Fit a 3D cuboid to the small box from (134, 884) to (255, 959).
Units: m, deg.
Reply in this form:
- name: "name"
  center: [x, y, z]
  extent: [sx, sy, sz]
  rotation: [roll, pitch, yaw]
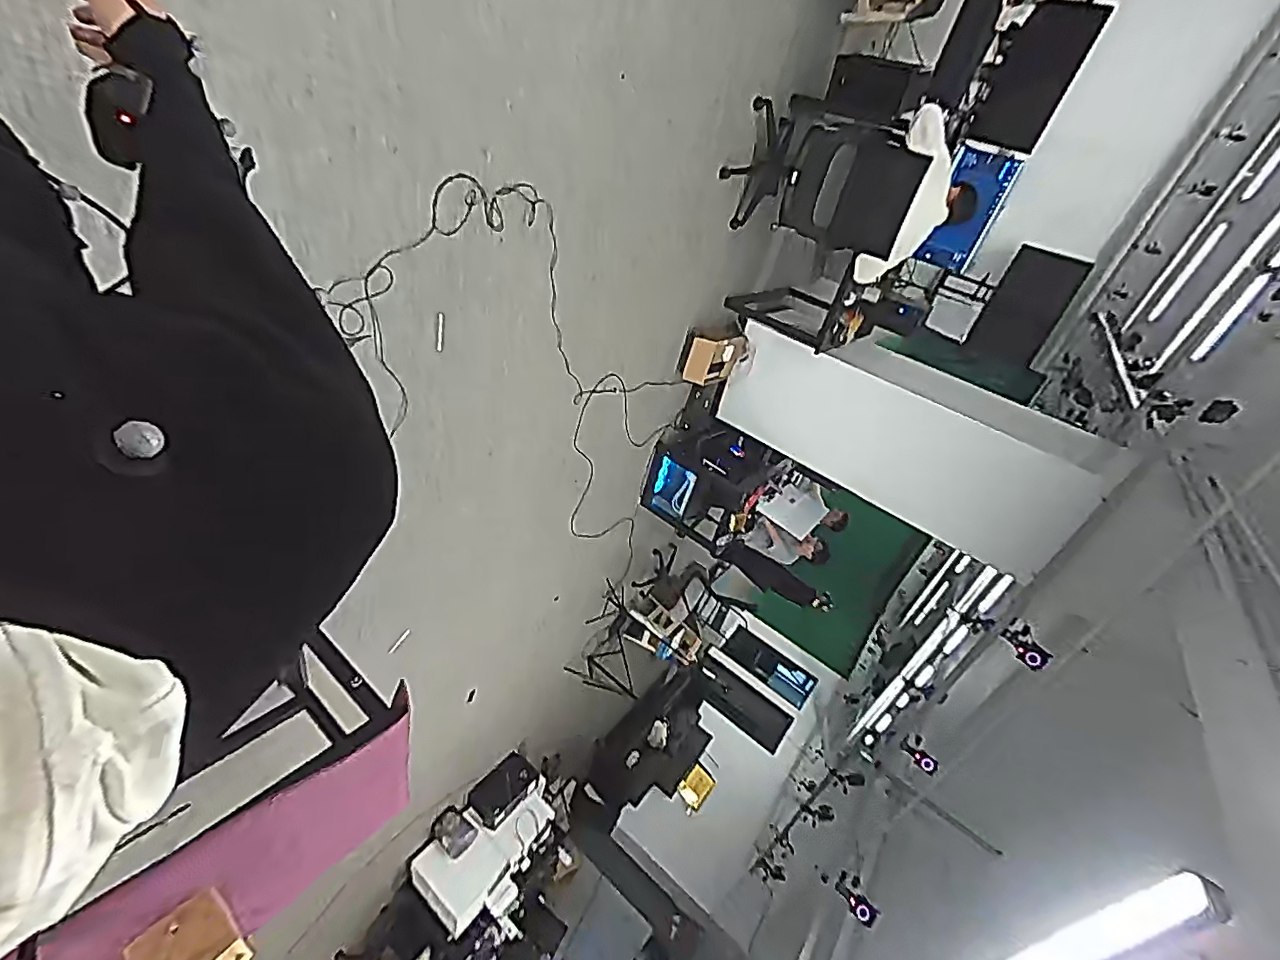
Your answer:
- name: "small box"
  center: [-1.086, 1.148, 1.318]
  extent: [0.179, 0.176, 0.168]
  rotation: [-30, 146, -45]
